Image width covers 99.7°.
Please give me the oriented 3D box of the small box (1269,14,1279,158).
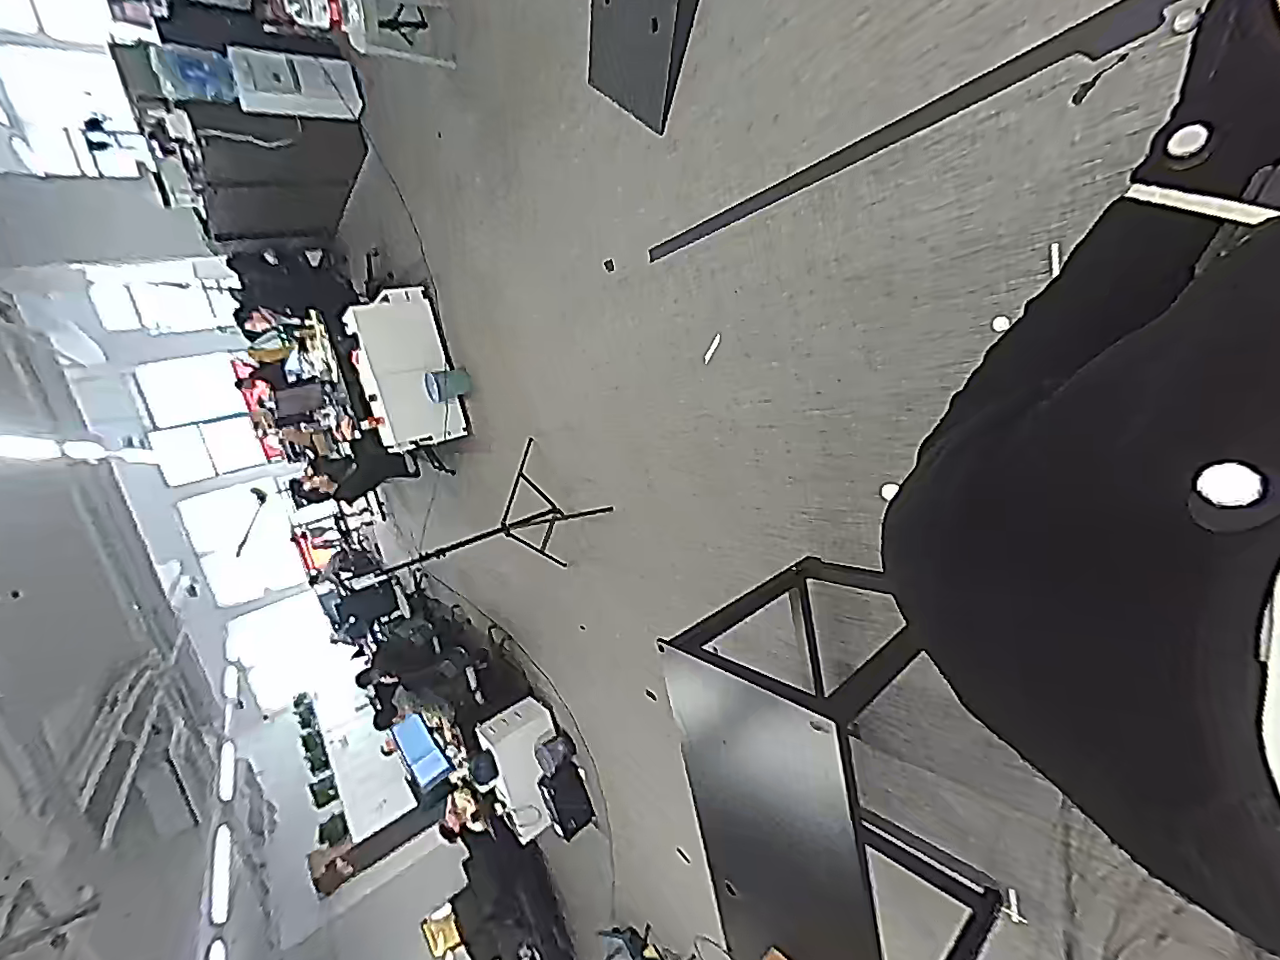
[{"bbox_3d":[0.943,-0.535,0.693,0.168,0.176,0.179,4,112,53],"label":"small box"}]
